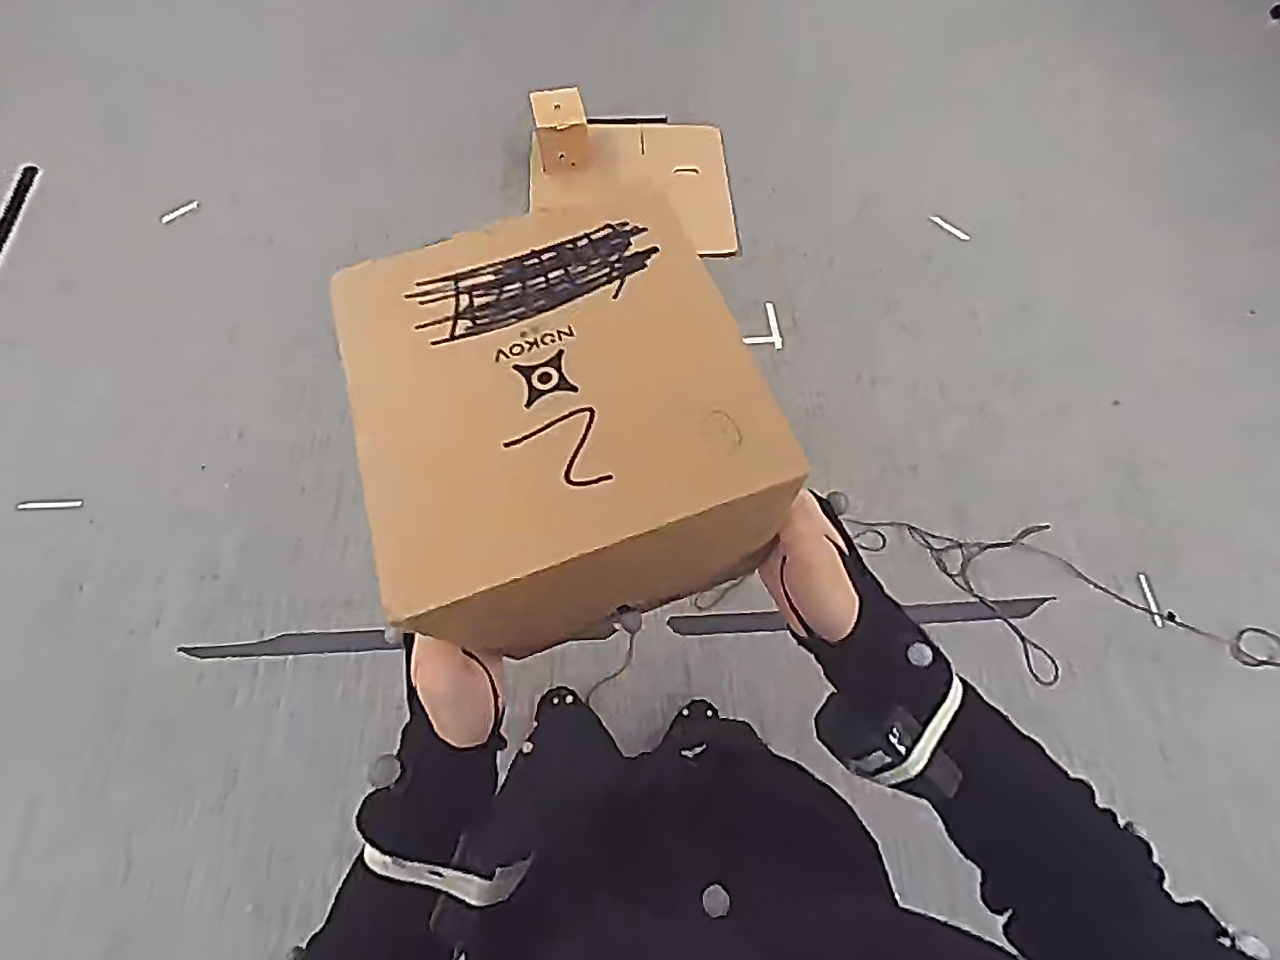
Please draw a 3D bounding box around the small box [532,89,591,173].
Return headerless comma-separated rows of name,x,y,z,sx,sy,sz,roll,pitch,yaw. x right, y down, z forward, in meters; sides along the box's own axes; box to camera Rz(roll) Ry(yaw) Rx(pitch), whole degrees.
small box,-0.268,-1.196,1.858,0.168,0.176,0.179,-12,70,-6
